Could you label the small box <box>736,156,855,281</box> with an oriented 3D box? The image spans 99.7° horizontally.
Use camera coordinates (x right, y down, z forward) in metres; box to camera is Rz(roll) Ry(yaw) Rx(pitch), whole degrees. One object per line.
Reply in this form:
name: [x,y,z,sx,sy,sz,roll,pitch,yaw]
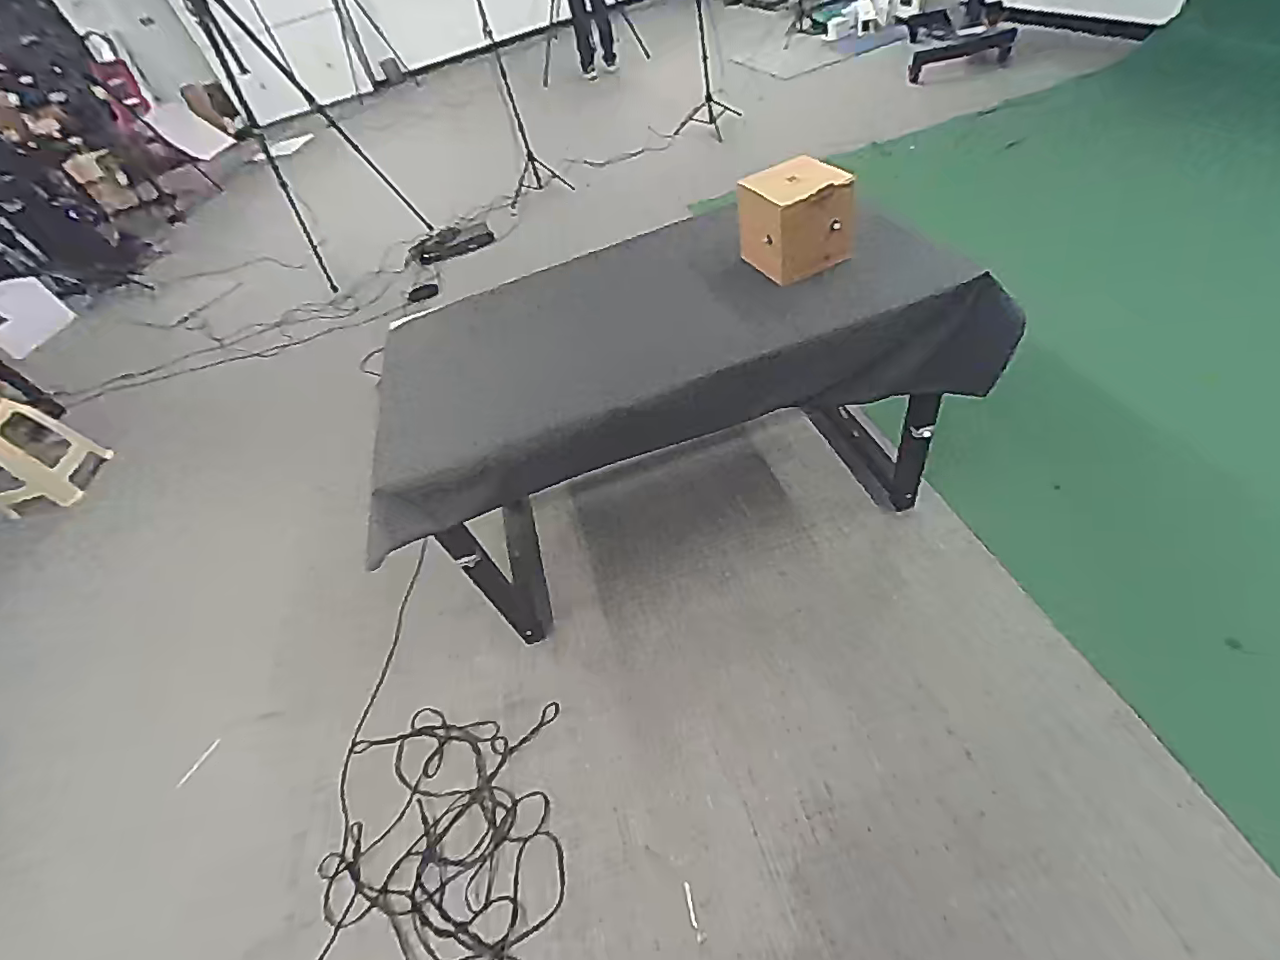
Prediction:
small box: [0.318,-0.537,1.122,0.168,0.176,0.179,-24,46,-7]
